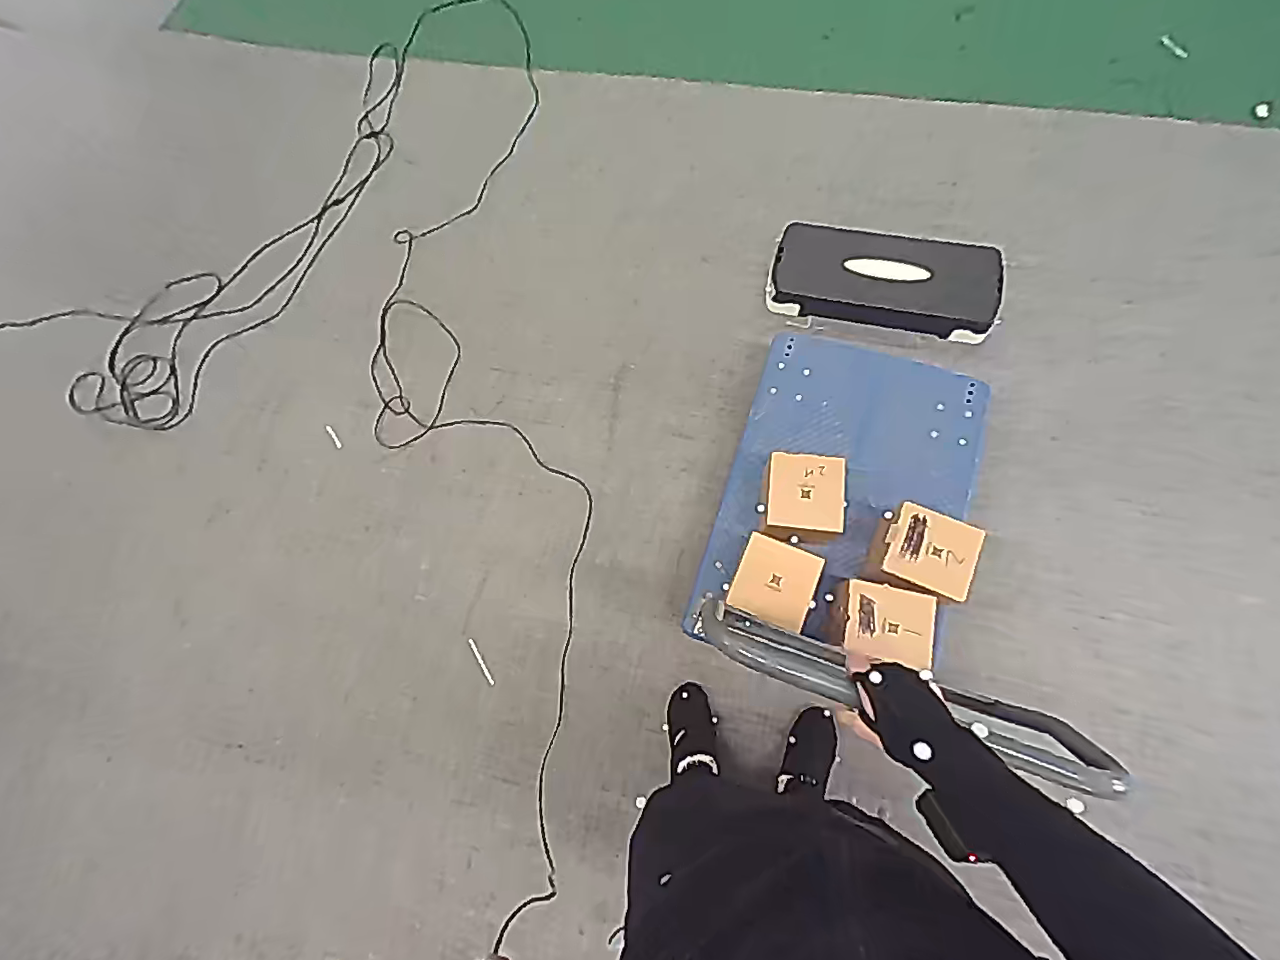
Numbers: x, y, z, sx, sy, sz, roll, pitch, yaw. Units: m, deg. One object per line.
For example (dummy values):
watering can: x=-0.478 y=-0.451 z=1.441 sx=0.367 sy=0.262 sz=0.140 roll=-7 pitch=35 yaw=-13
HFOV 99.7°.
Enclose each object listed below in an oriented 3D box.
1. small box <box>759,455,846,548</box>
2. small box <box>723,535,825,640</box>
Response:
small box: x=0.379 y=0.057 z=1.279 sx=0.168 sy=0.176 sz=0.179 roll=7 pitch=73 yaw=6
small box: x=0.295 y=0.248 z=1.228 sx=0.168 sy=0.176 sz=0.179 roll=22 pitch=76 yaw=11
